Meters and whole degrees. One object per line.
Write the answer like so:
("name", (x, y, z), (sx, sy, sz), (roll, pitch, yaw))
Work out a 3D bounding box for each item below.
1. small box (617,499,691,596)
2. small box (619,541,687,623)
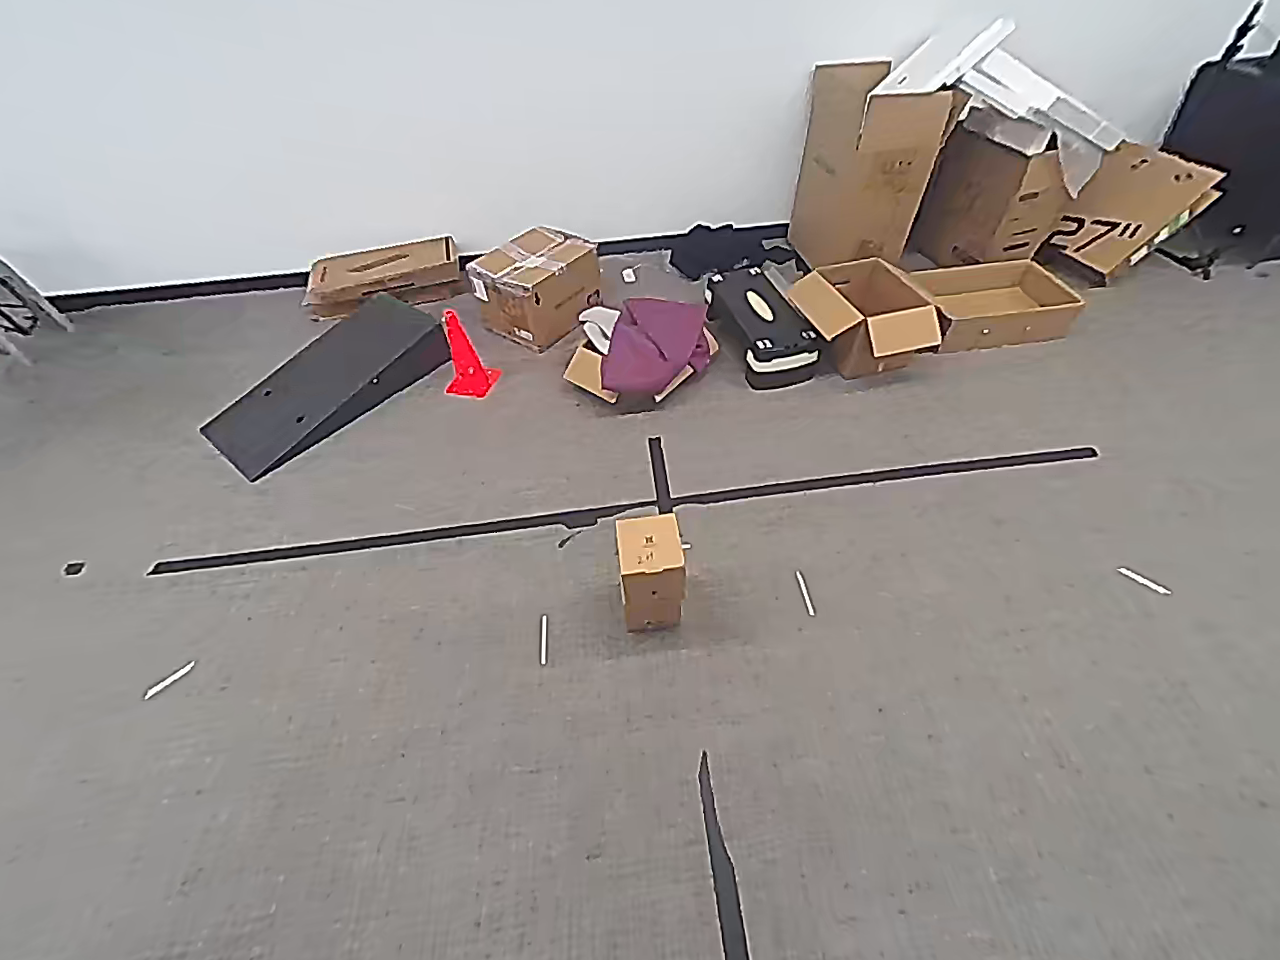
("small box", (0.035, 0.174, 1.391), (0.168, 0.176, 0.179), (-8, 49, -2))
("small box", (0.034, 0.277, 1.520), (0.168, 0.176, 0.179), (-8, 50, -3))
